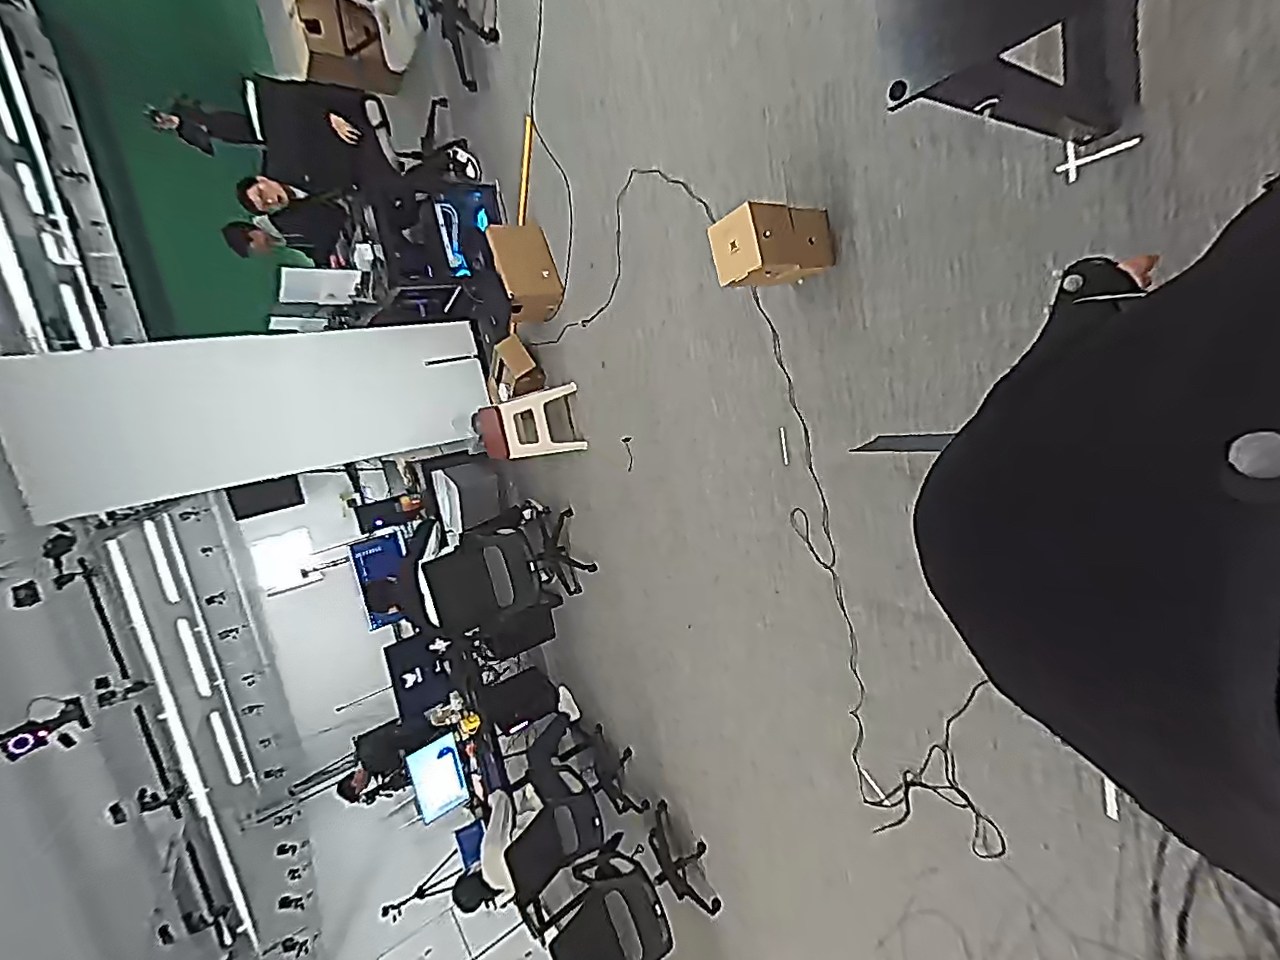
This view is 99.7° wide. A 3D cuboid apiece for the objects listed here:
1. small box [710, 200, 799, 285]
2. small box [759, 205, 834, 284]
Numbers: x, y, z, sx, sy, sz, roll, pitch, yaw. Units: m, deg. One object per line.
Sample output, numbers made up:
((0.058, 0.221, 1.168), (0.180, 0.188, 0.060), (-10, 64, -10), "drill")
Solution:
((0.331, -0.675, 1.548), (0.168, 0.176, 0.179), (-8, 96, 55), "small box")
((0.463, -0.708, 1.637), (0.168, 0.176, 0.179), (-2, 103, 56), "small box")
